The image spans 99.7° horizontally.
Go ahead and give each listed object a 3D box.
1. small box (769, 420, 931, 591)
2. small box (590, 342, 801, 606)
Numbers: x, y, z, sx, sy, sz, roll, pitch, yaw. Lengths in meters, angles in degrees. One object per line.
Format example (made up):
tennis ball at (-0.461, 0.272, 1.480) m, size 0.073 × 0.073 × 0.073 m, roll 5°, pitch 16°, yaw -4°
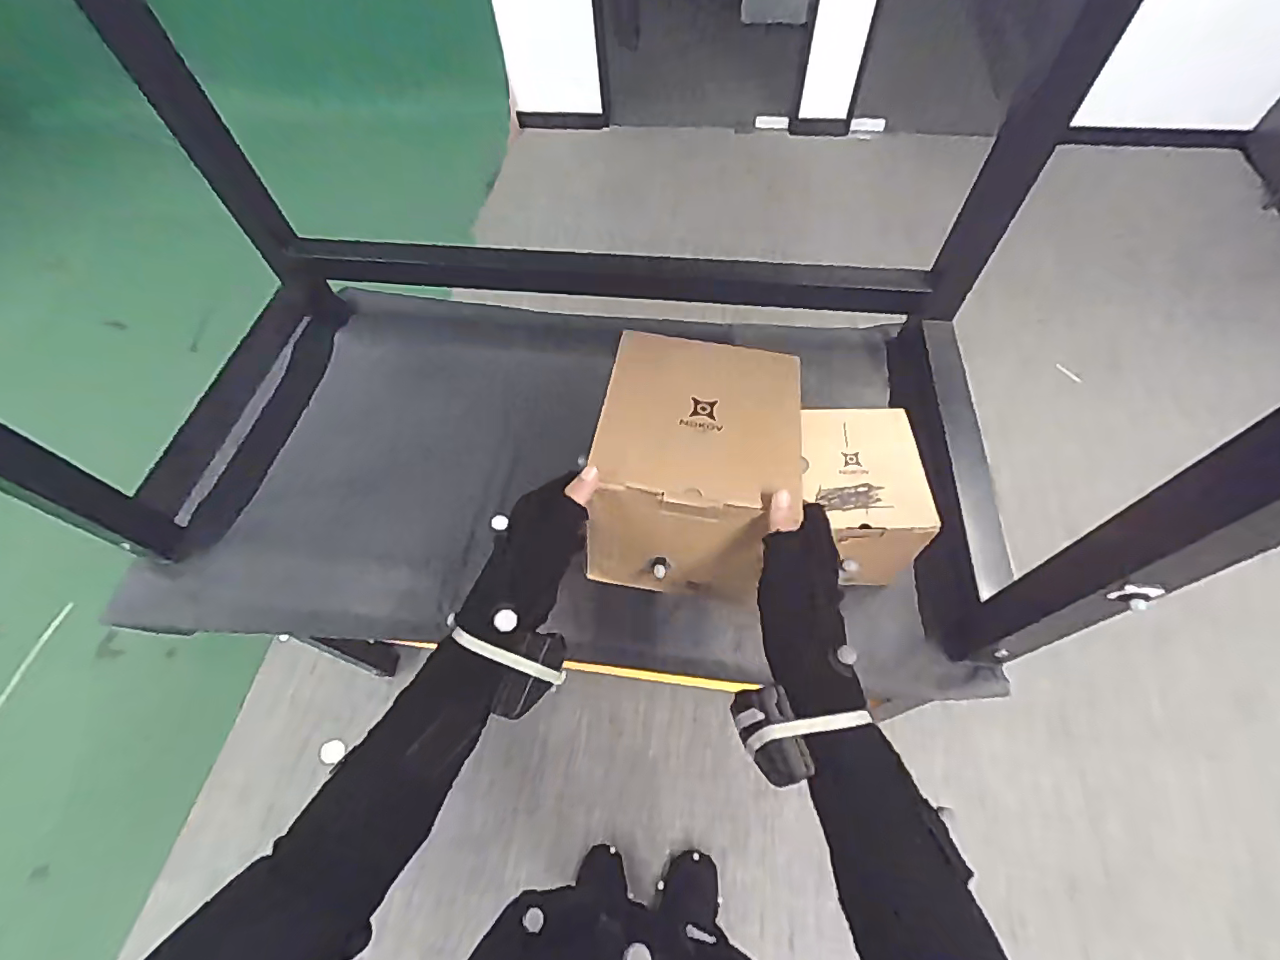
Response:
small box at (0.258, 0.039, 0.727) m, size 0.168 × 0.176 × 0.179 m, roll 0°, pitch 56°, yaw 4°
small box at (0.048, -0.002, 0.521) m, size 0.168 × 0.176 × 0.179 m, roll 9°, pitch 54°, yaw 2°
